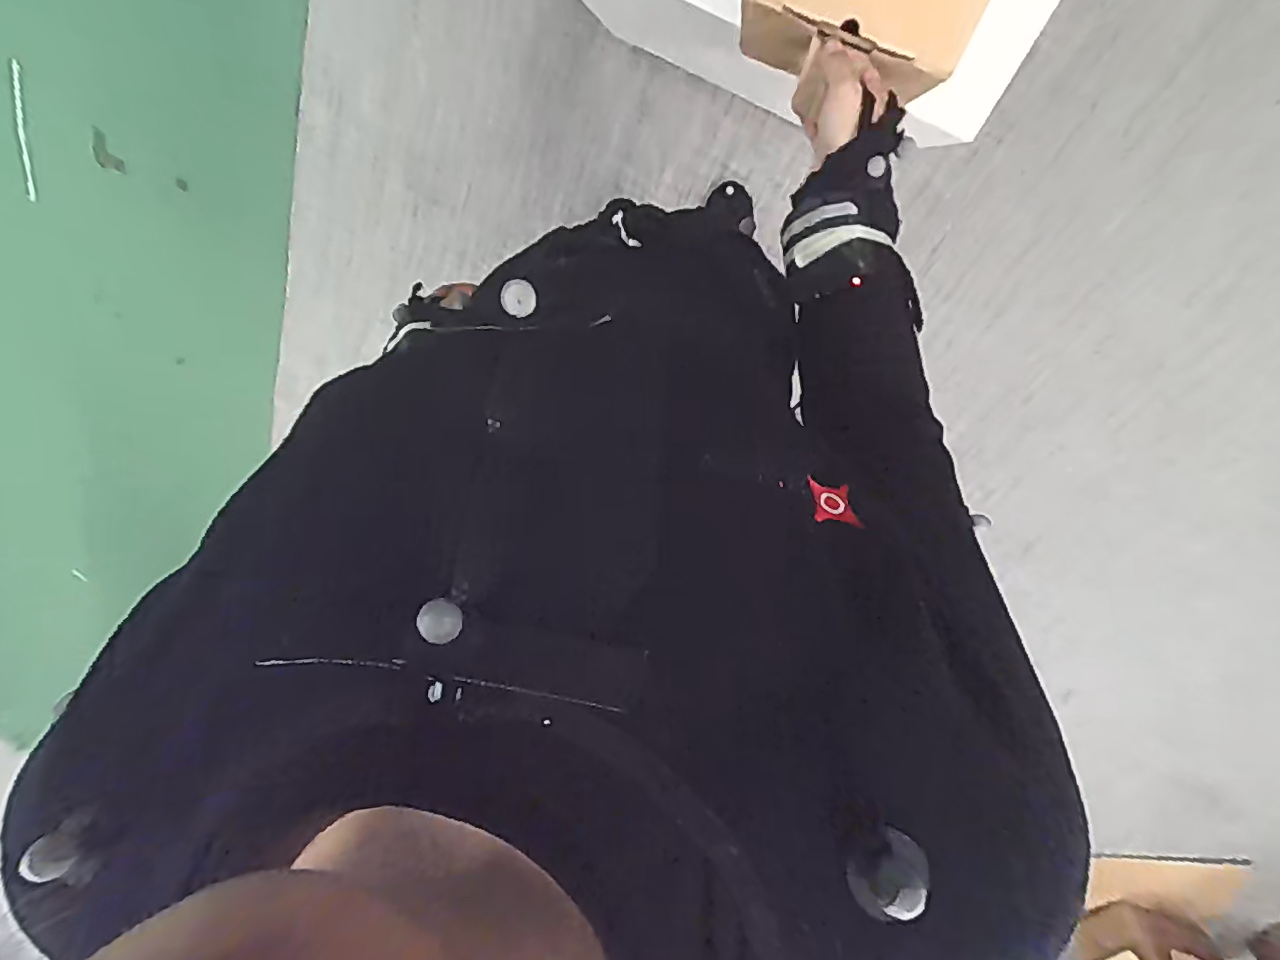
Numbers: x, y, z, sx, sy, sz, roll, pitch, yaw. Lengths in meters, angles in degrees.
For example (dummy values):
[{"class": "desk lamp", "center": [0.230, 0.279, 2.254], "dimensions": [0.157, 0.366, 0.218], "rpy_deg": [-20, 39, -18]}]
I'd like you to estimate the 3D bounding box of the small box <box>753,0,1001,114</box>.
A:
[{"class": "small box", "center": [0.194, -0.420, 0.420], "dimensions": [0.168, 0.176, 0.179], "rpy_deg": [21, 119, 0]}]
